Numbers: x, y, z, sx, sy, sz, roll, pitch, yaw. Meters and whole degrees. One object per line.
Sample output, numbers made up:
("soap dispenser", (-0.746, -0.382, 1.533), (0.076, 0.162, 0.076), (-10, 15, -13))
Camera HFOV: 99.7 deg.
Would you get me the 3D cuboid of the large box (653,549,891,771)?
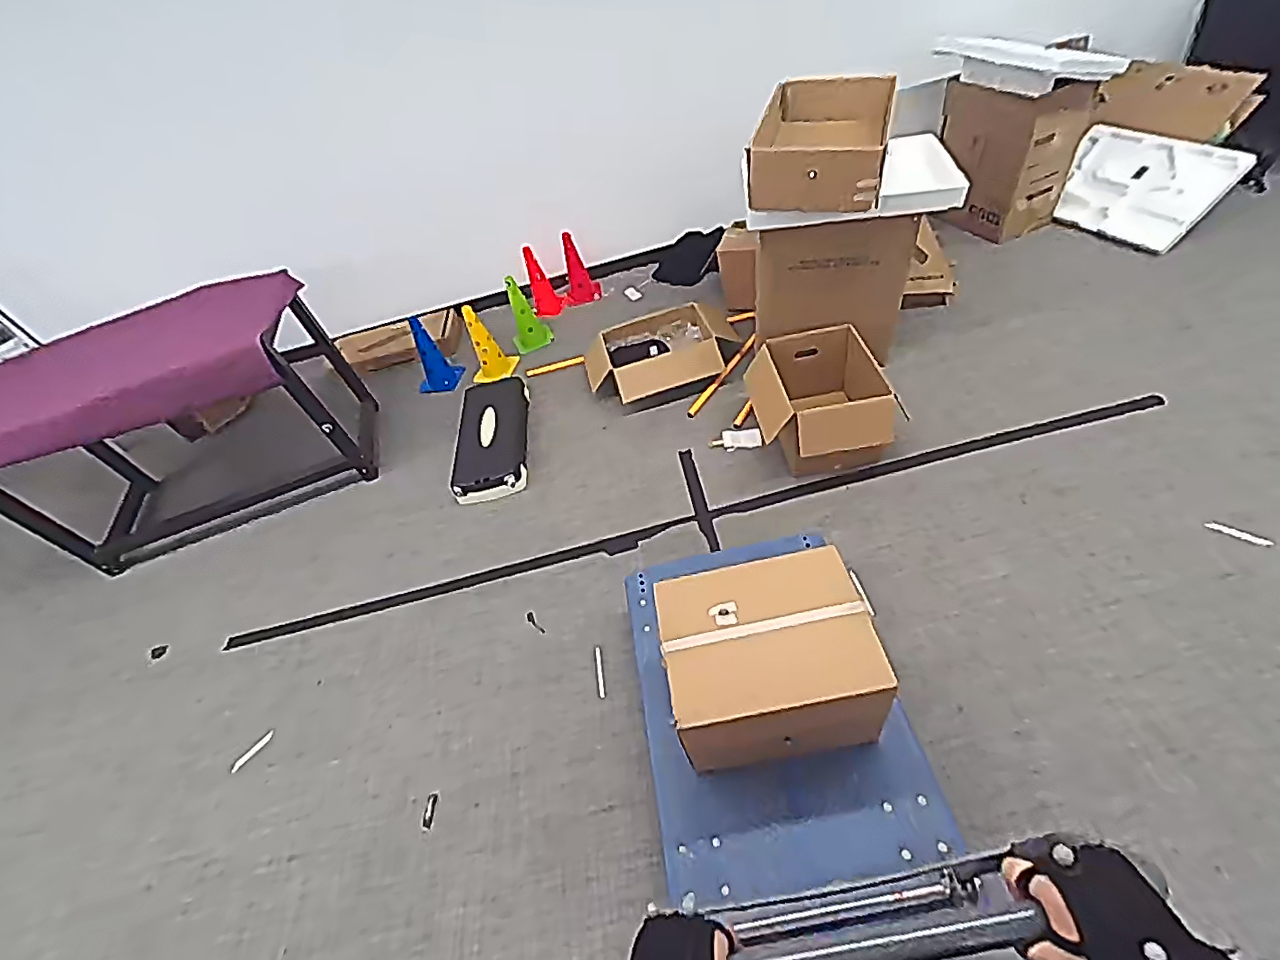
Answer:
("large box", (0.272, 0.402, 1.188), (0.408, 0.320, 0.320), (-14, 46, 4))
